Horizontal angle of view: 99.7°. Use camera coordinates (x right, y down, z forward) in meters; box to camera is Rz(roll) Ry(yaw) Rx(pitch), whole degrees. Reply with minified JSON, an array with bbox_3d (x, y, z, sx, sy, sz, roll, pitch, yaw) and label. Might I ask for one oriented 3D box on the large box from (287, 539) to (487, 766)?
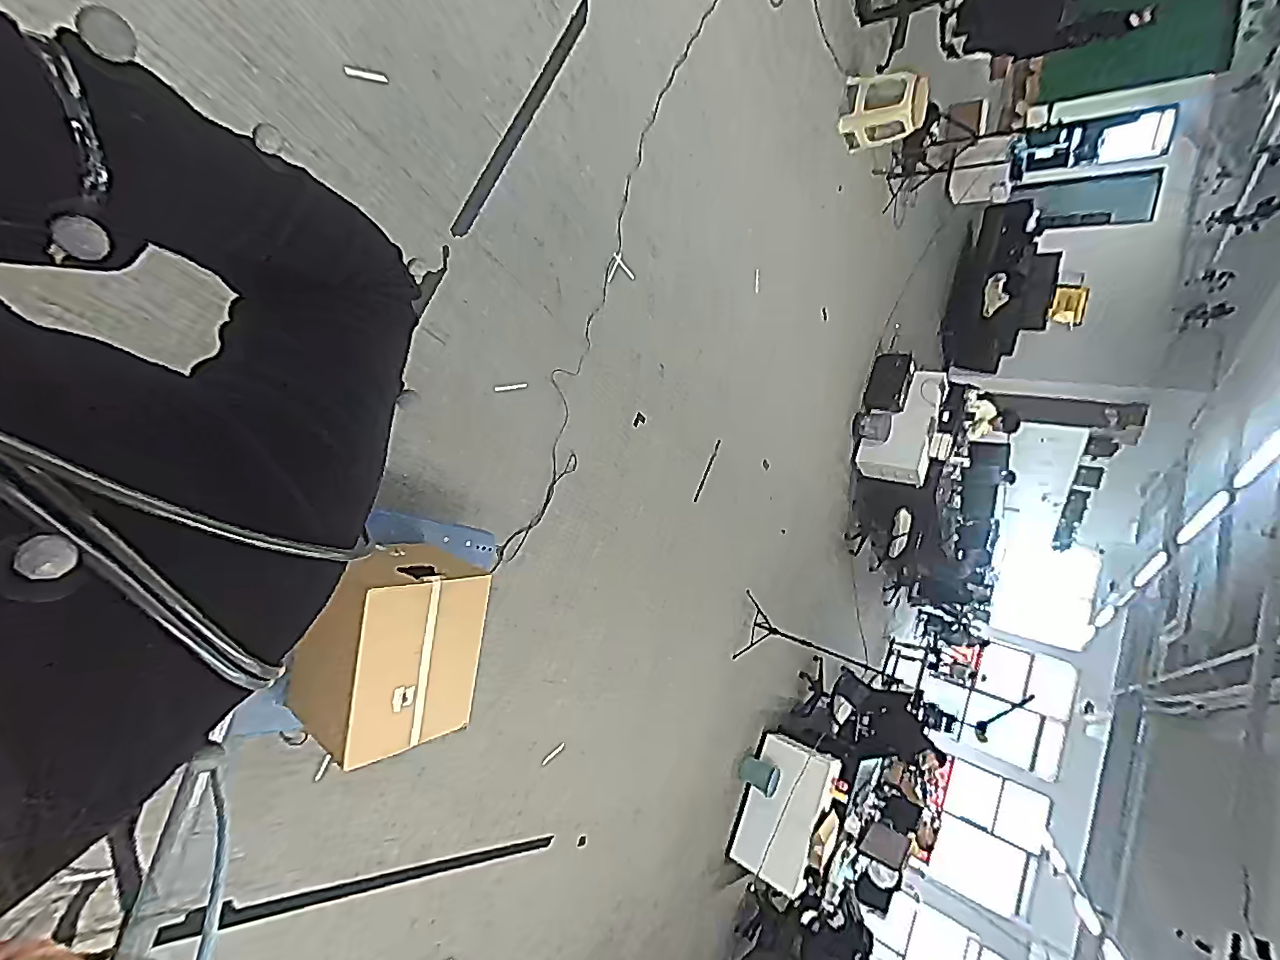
[{"bbox_3d":[-0.618,0.383,1.322,0.320,0.320,0.408,4,98,-52],"label":"large box"}]
